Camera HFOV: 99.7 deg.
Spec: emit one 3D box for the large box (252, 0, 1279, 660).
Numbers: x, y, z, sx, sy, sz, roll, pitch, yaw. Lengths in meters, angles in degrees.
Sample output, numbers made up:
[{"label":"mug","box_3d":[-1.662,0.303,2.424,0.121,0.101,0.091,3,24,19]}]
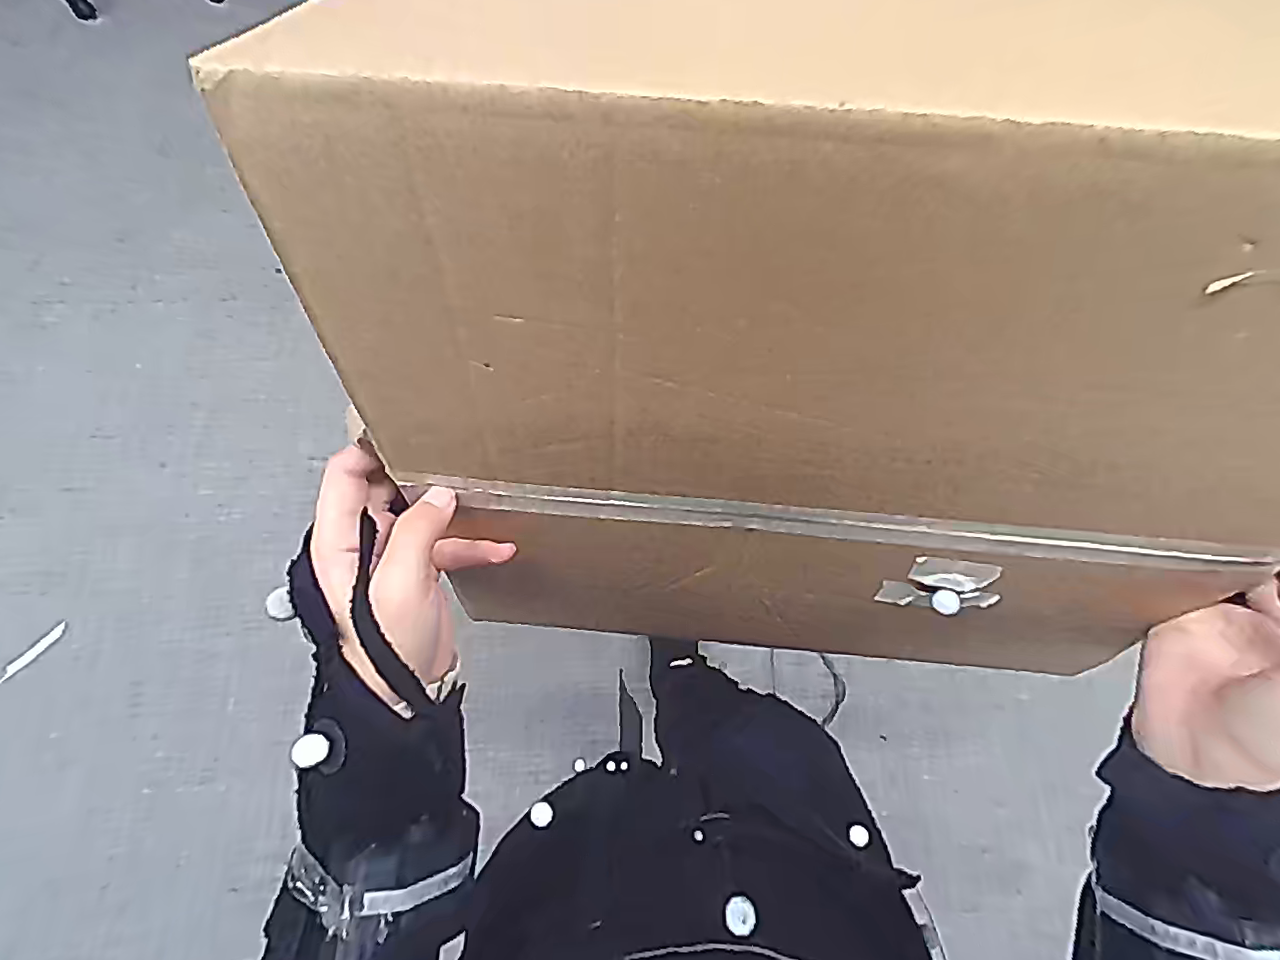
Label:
[{"label":"large box","box_3d":[0.096,-0.102,0.347,0.408,0.320,0.320,4,53,1]}]
